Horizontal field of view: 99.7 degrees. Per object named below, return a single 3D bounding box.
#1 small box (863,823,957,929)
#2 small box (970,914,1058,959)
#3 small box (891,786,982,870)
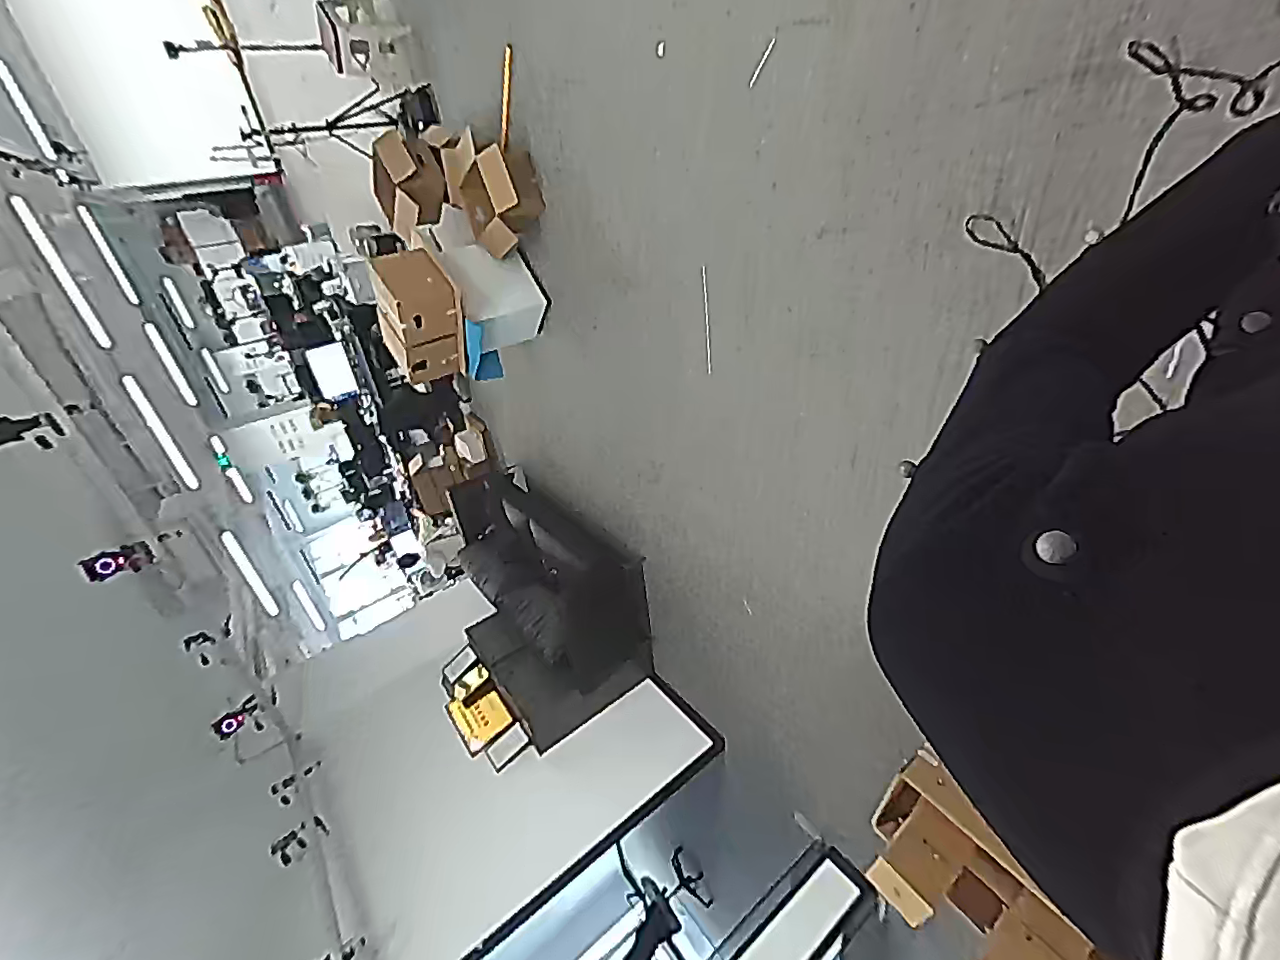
[{"bbox_3d":[0.801,1.169,1.603,0.168,0.176,0.179,38,142,37],"label":"small box"},{"bbox_3d":[0.981,1.304,1.418,0.168,0.176,0.179,33,139,42],"label":"small box"},{"bbox_3d":[0.925,1.104,1.686,0.168,0.176,0.179,39,142,36],"label":"small box"}]
